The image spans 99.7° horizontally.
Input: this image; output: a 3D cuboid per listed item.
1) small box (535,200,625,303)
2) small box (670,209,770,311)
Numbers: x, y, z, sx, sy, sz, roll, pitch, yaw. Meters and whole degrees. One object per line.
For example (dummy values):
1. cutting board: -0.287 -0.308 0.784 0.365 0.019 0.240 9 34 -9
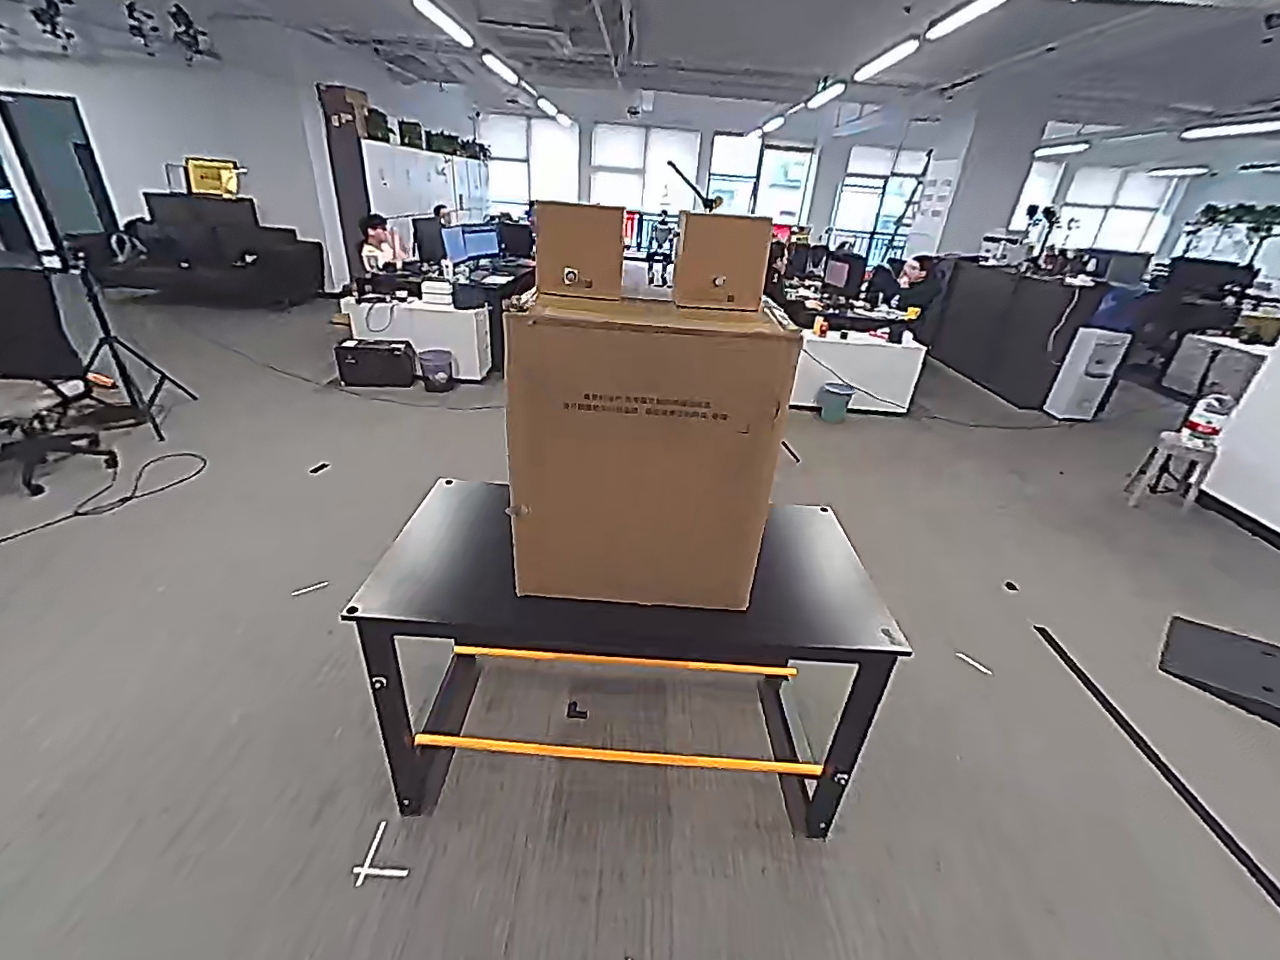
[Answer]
1. small box: -0.119 -0.468 1.100 0.168 0.176 0.179 3 28 -3
2. small box: 0.153 -0.448 1.095 0.168 0.176 0.179 2 28 -2
